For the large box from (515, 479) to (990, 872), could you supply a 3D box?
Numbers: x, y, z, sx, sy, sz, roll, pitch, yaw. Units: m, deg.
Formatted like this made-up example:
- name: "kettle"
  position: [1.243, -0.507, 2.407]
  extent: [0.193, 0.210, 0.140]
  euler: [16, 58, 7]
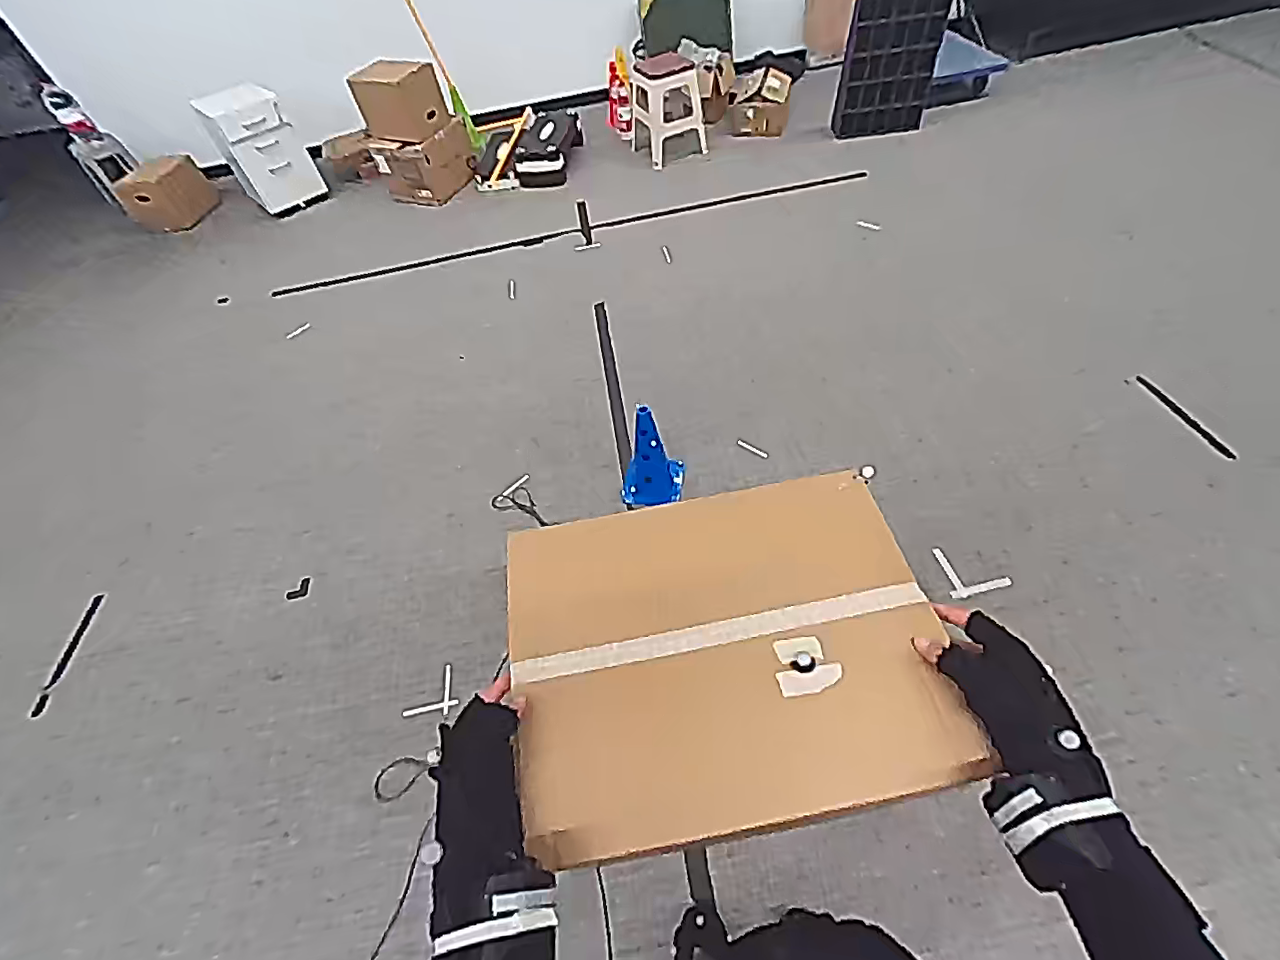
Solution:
- name: "large box"
  position: [0.089, 0.244, 0.653]
  extent: [0.408, 0.320, 0.320]
  euler: [-11, 54, -2]

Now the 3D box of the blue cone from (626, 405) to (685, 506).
- name: "blue cone"
  position: [0.036, -0.091, 1.758]
  extent: [0.193, 0.380, 0.192]
  euler: [6, 53, 13]
